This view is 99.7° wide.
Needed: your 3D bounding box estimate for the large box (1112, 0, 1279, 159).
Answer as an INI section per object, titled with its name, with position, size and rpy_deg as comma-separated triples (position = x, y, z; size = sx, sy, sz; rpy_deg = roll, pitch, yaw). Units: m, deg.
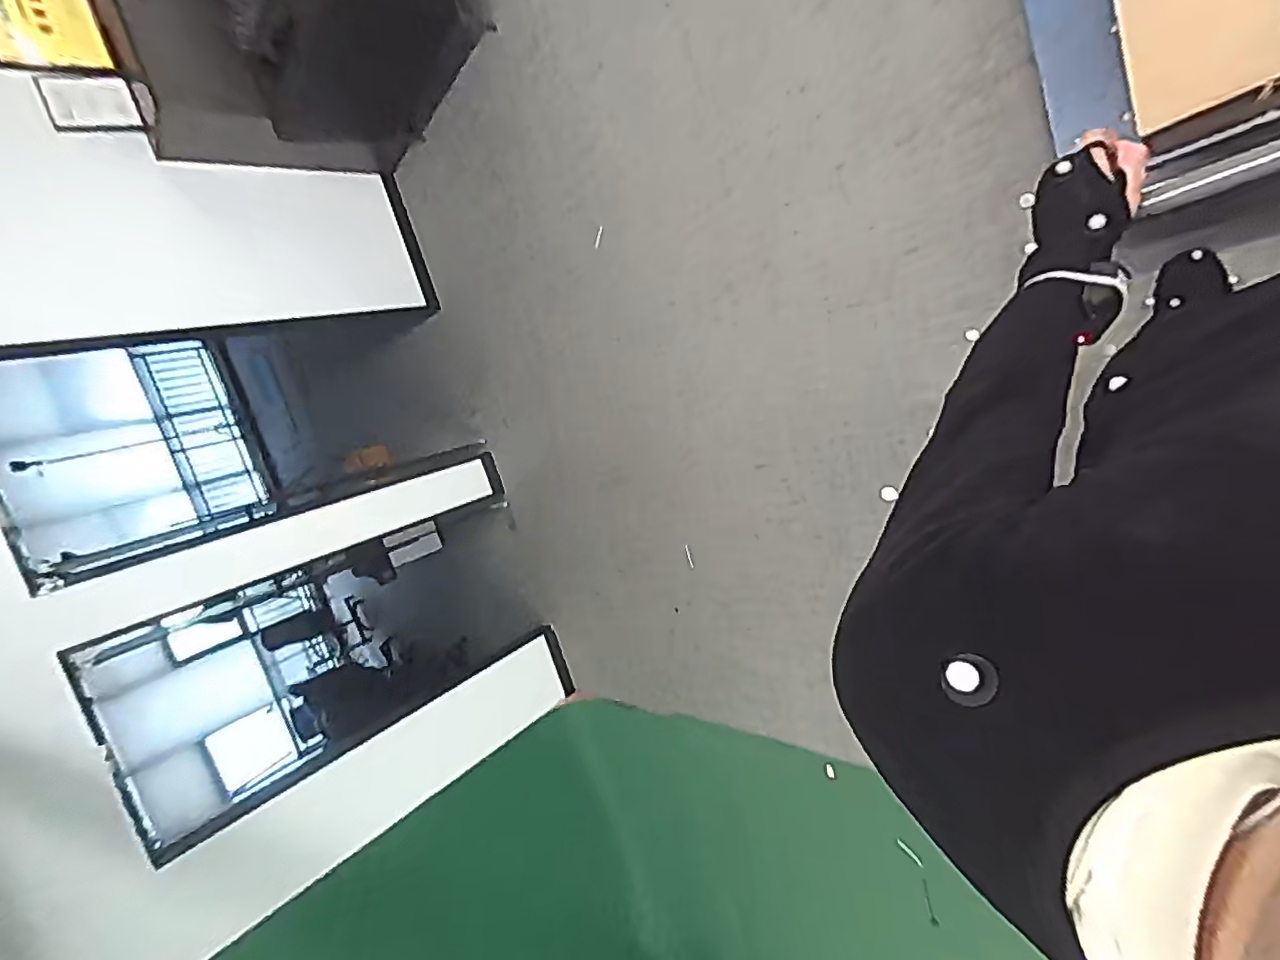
[large box]
position = 0.876, -0.738, 0.745
size = 0.320, 0.320, 0.408
rpy_deg = -10, 99, 48
